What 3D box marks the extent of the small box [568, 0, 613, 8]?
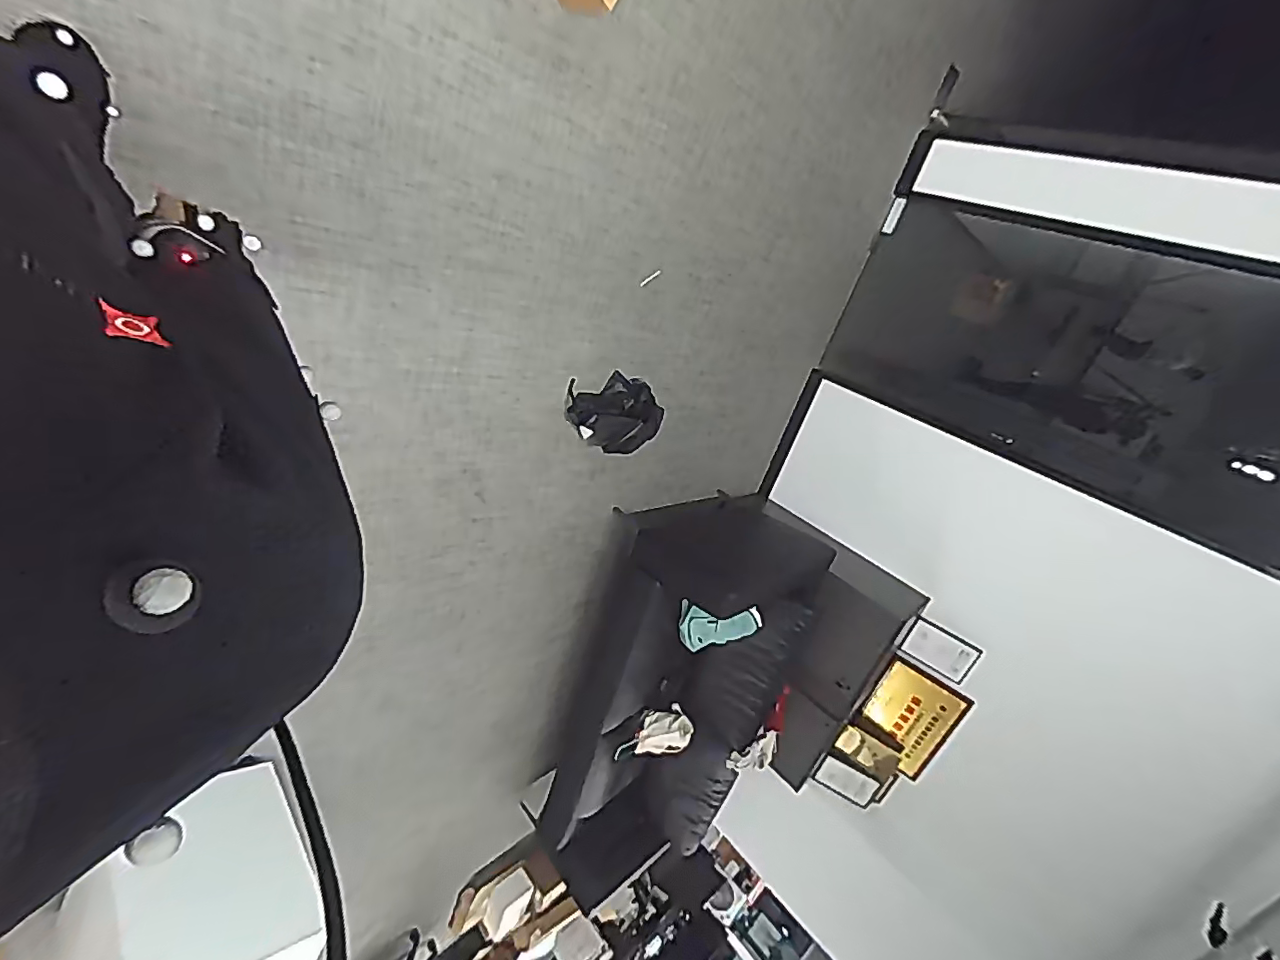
[{"bbox_3d":[-0.122,-1.145,1.130,0.168,0.176,0.179,-58,146,7],"label":"small box"}]
